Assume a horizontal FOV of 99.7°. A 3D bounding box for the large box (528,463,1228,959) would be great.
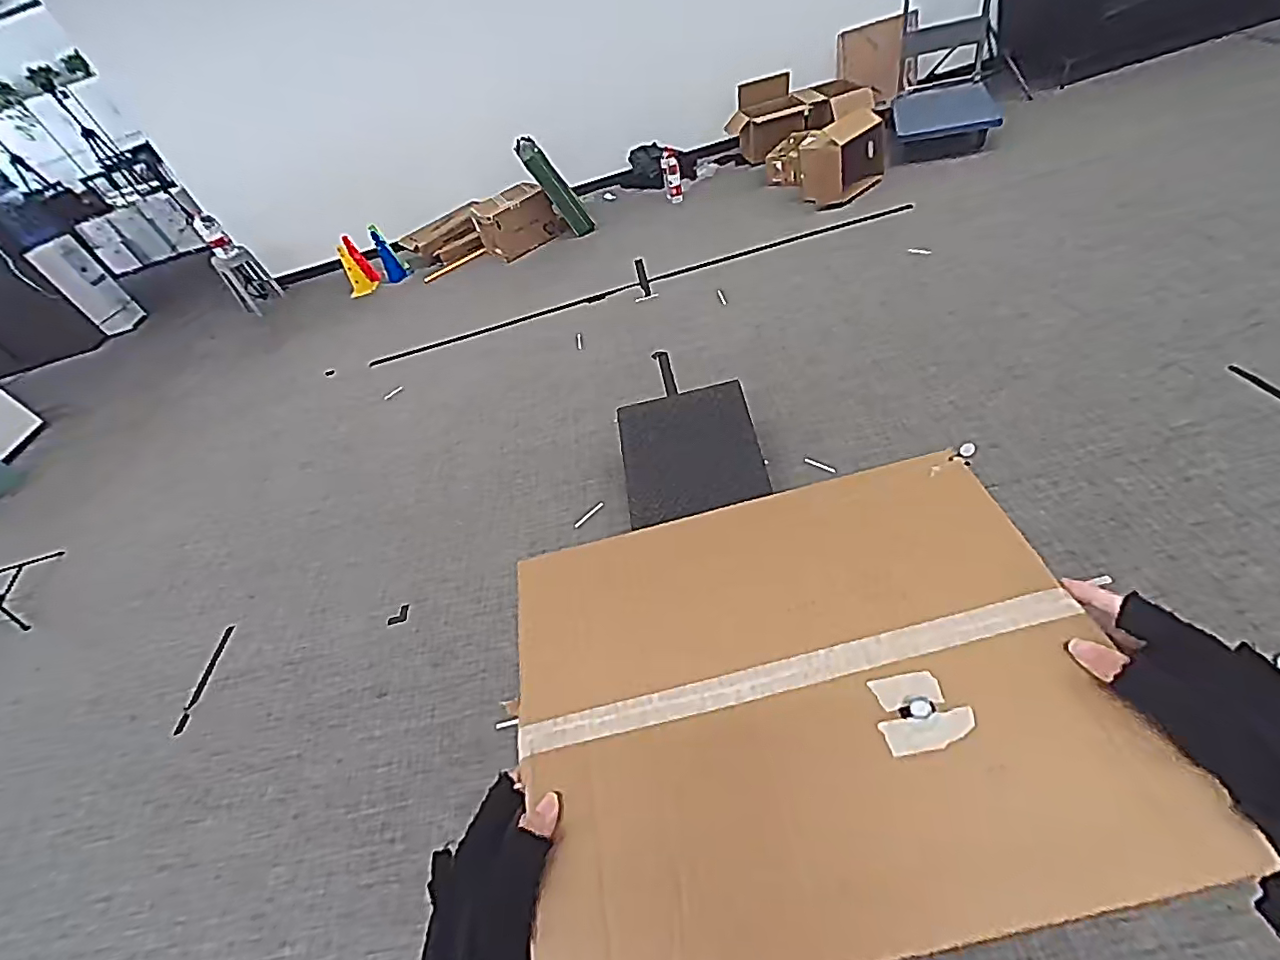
[{"bbox_3d":[0.140,0.241,0.514,0.408,0.320,0.320,-15,49,1],"label":"large box"}]
